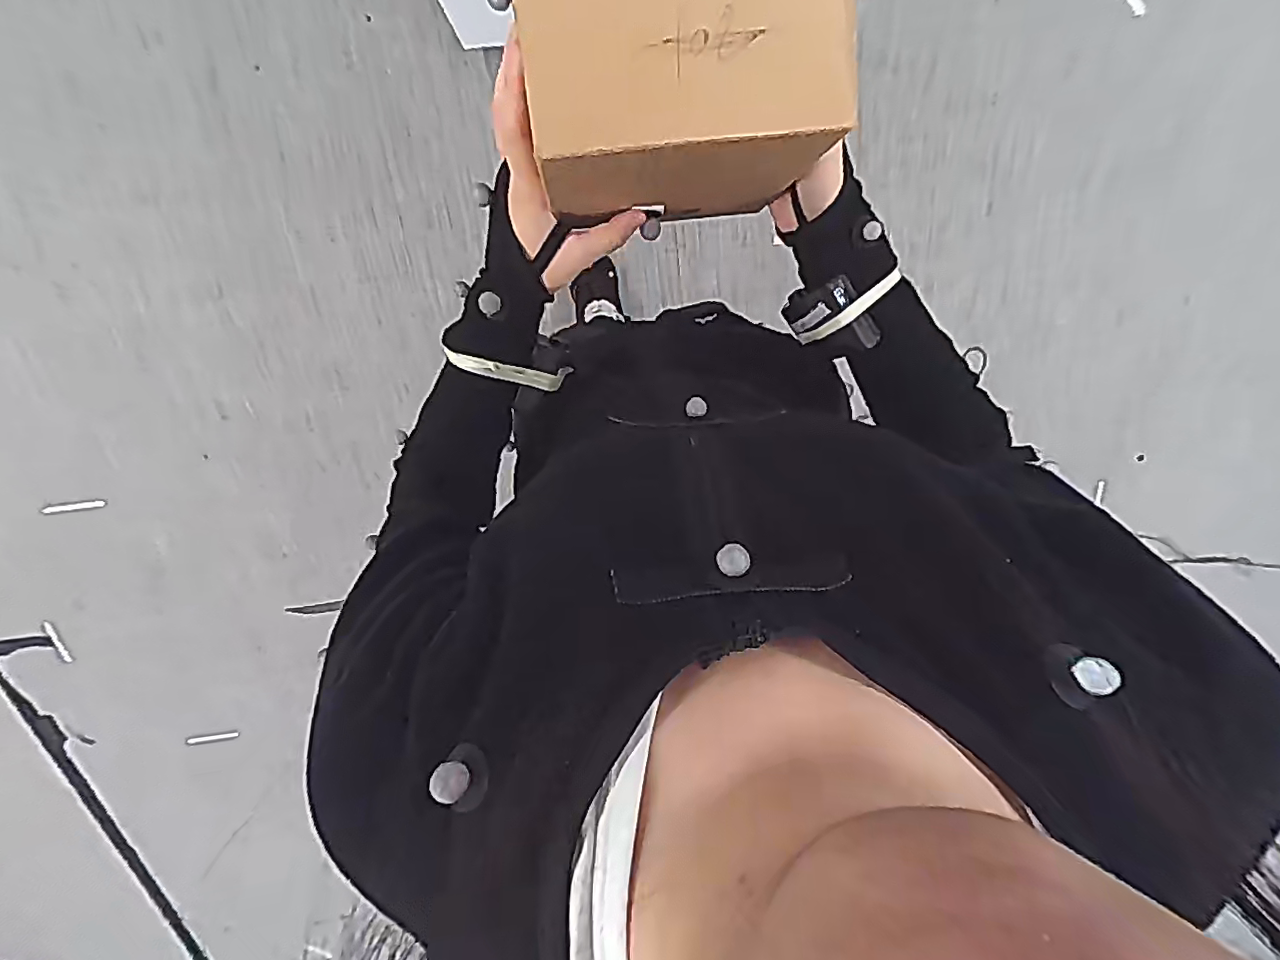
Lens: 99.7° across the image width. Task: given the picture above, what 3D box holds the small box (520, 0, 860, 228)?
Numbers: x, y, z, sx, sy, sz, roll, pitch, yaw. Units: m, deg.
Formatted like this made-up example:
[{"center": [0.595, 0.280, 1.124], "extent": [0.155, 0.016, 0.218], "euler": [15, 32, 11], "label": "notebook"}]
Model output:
[{"center": [0.015, -0.273, 0.329], "extent": [0.168, 0.176, 0.179], "euler": [-8, 103, -3], "label": "small box"}]
